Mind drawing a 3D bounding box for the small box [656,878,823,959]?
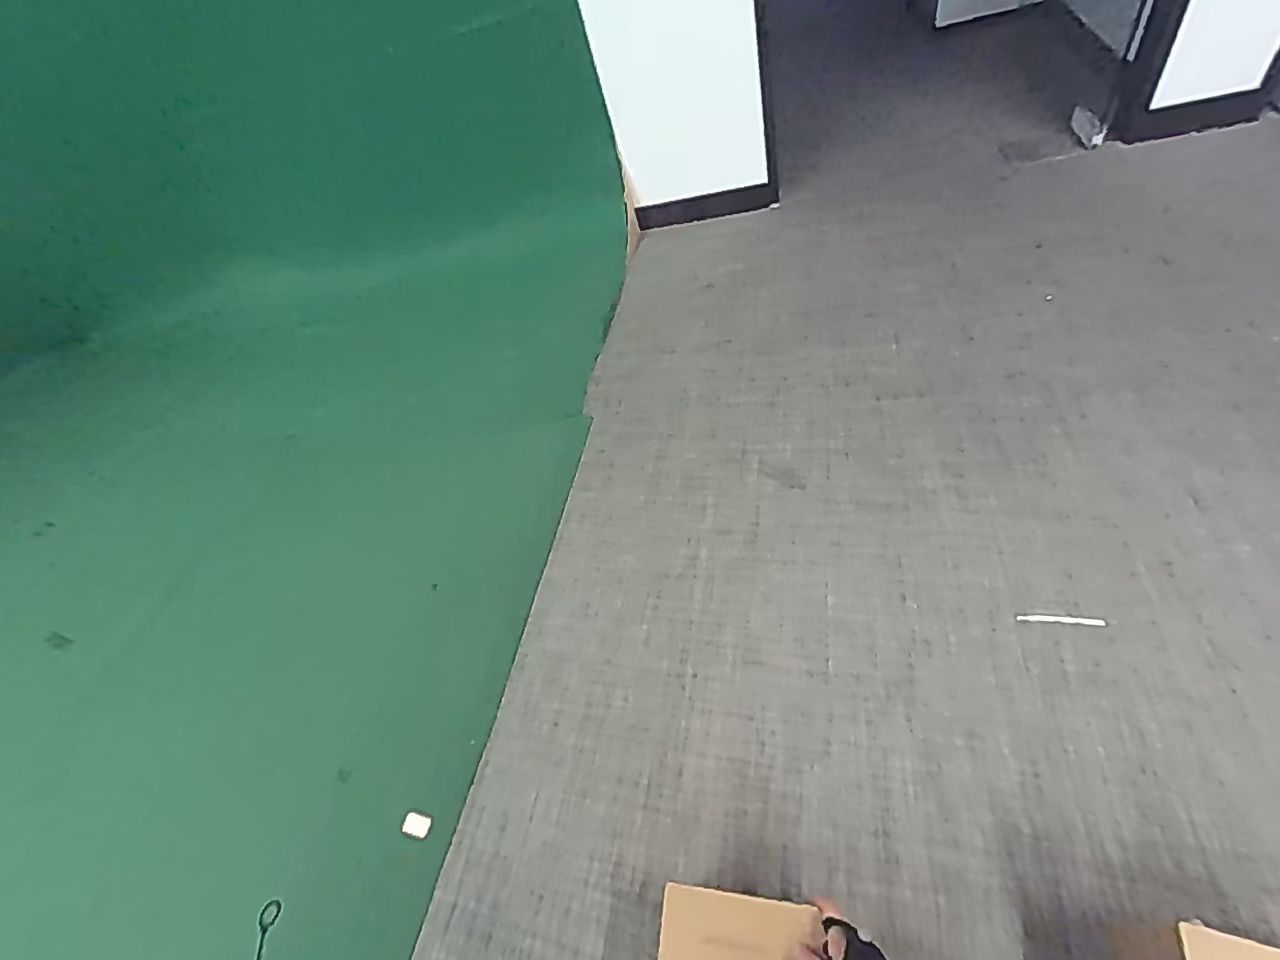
[{"bbox_3d":[0.112,0.558,0.585,0.168,0.176,0.179,-2,51,17],"label":"small box"}]
